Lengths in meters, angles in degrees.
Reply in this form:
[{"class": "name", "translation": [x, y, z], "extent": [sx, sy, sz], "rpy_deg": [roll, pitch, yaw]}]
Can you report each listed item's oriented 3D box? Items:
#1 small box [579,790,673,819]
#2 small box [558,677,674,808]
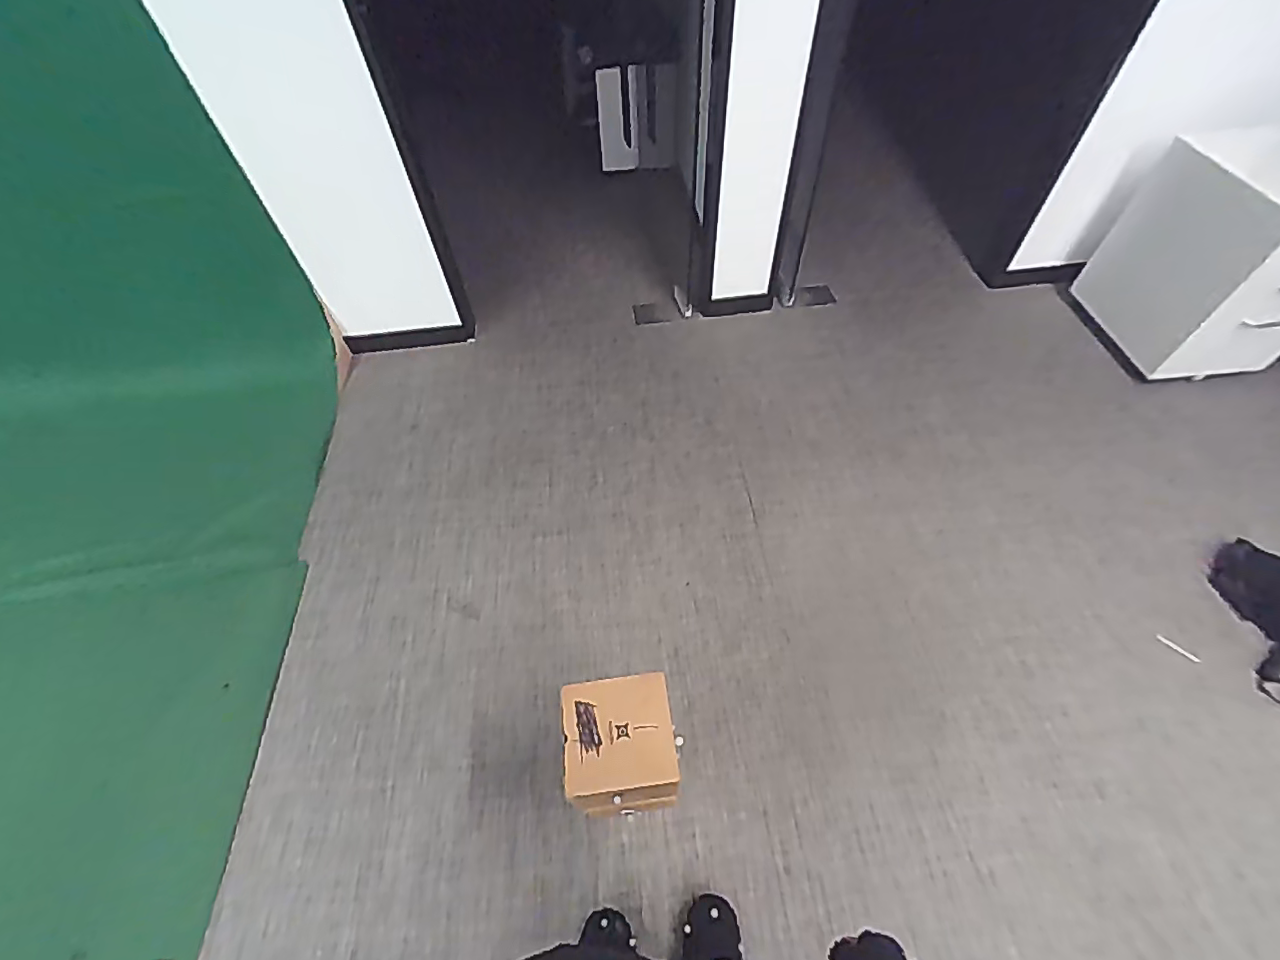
[{"class": "small box", "translation": [-0.031, 0.542, 1.050], "extent": [0.168, 0.176, 0.179], "rpy_deg": [-8, 55, -2]}, {"class": "small box", "translation": [-0.039, 0.456, 0.930], "extent": [0.179, 0.176, 0.168], "rpy_deg": [-7, 54, -2]}]
